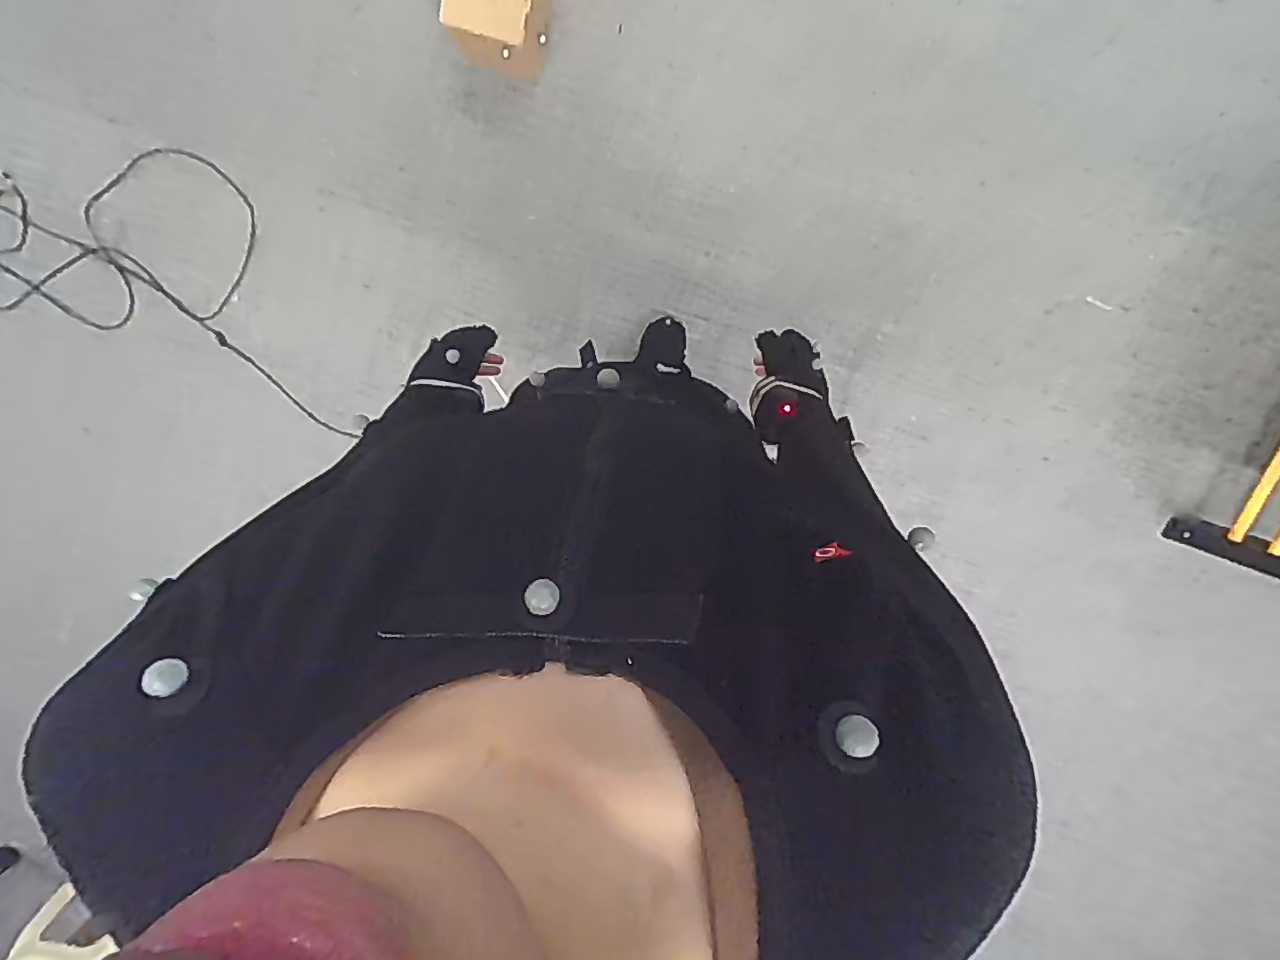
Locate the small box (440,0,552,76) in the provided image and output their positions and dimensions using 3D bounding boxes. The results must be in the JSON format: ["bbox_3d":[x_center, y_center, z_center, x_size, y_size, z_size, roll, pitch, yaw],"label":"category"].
[{"bbox_3d":[-0.300,-1.008,1.157,0.179,0.176,0.168,14,104,-2],"label":"small box"}]
